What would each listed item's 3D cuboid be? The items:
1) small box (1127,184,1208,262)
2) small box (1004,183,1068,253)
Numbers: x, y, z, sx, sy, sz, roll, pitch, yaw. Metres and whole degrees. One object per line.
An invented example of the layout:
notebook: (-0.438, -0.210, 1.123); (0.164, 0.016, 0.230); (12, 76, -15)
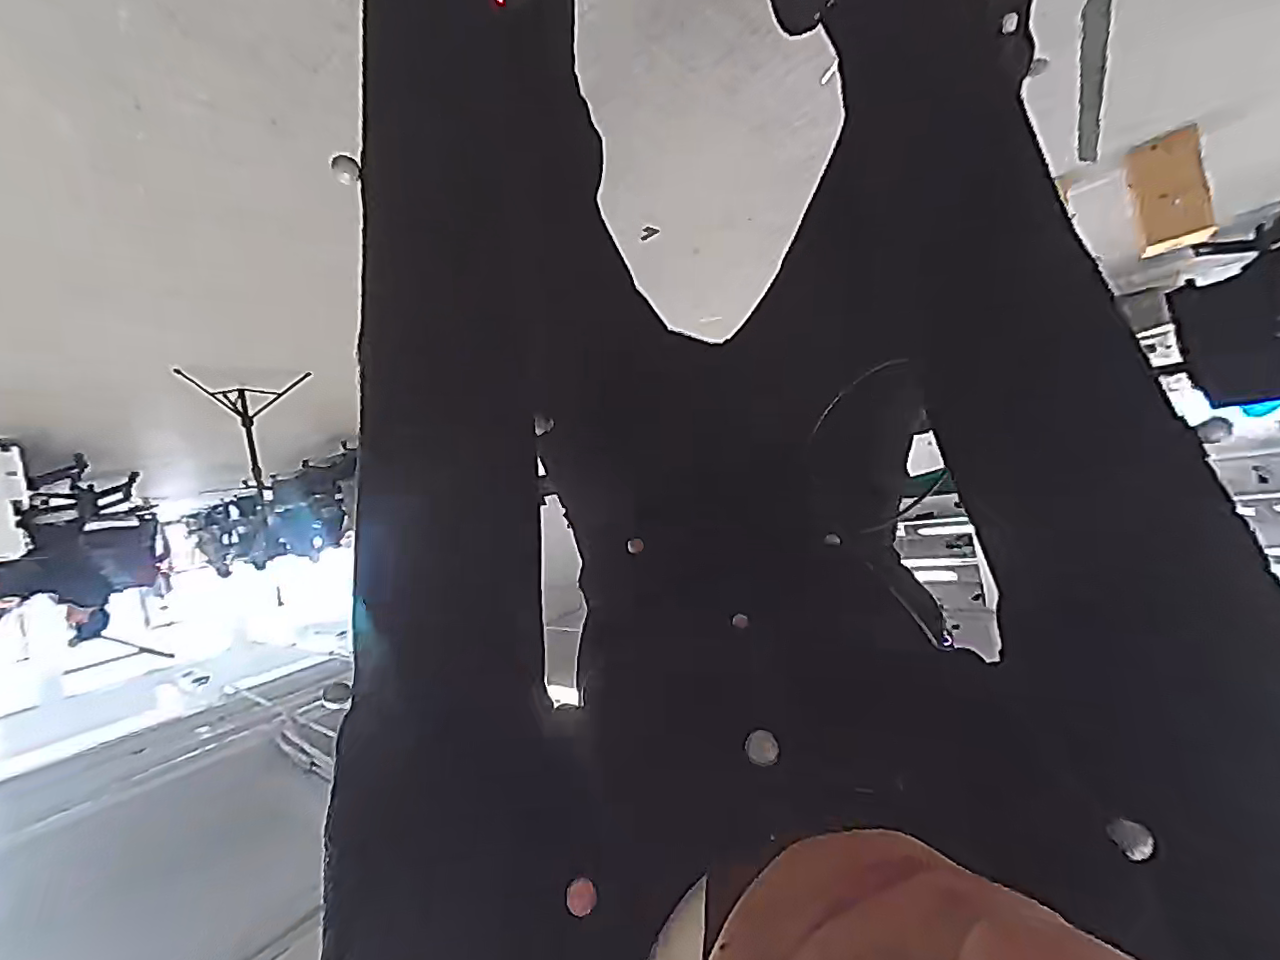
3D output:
small box: (1.773, -0.865, 1.824); (0.168, 0.176, 0.179); (-11, 179, 38)
small box: (1.488, -0.982, 2.030); (0.168, 0.176, 0.179); (-10, -179, 42)
